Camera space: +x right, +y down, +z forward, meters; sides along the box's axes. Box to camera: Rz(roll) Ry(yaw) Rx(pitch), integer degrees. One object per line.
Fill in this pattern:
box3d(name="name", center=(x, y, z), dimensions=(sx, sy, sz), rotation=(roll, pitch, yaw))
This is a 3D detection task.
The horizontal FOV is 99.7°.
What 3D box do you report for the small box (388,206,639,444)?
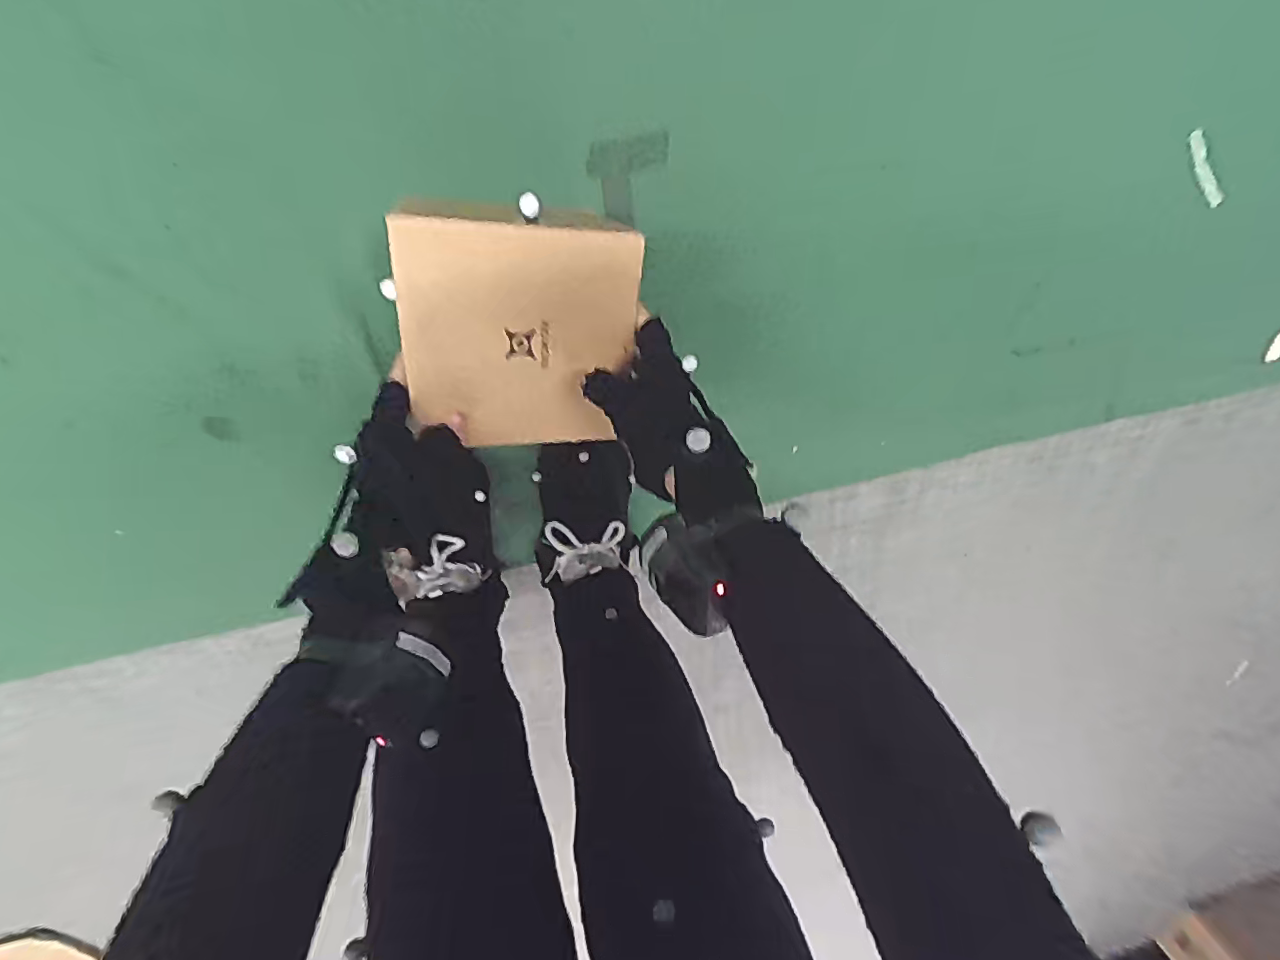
box3d(name="small box", center=(-0.115, -0.143, 0.482), dimensions=(0.179, 0.176, 0.168), rotation=(-5, 121, -19))
